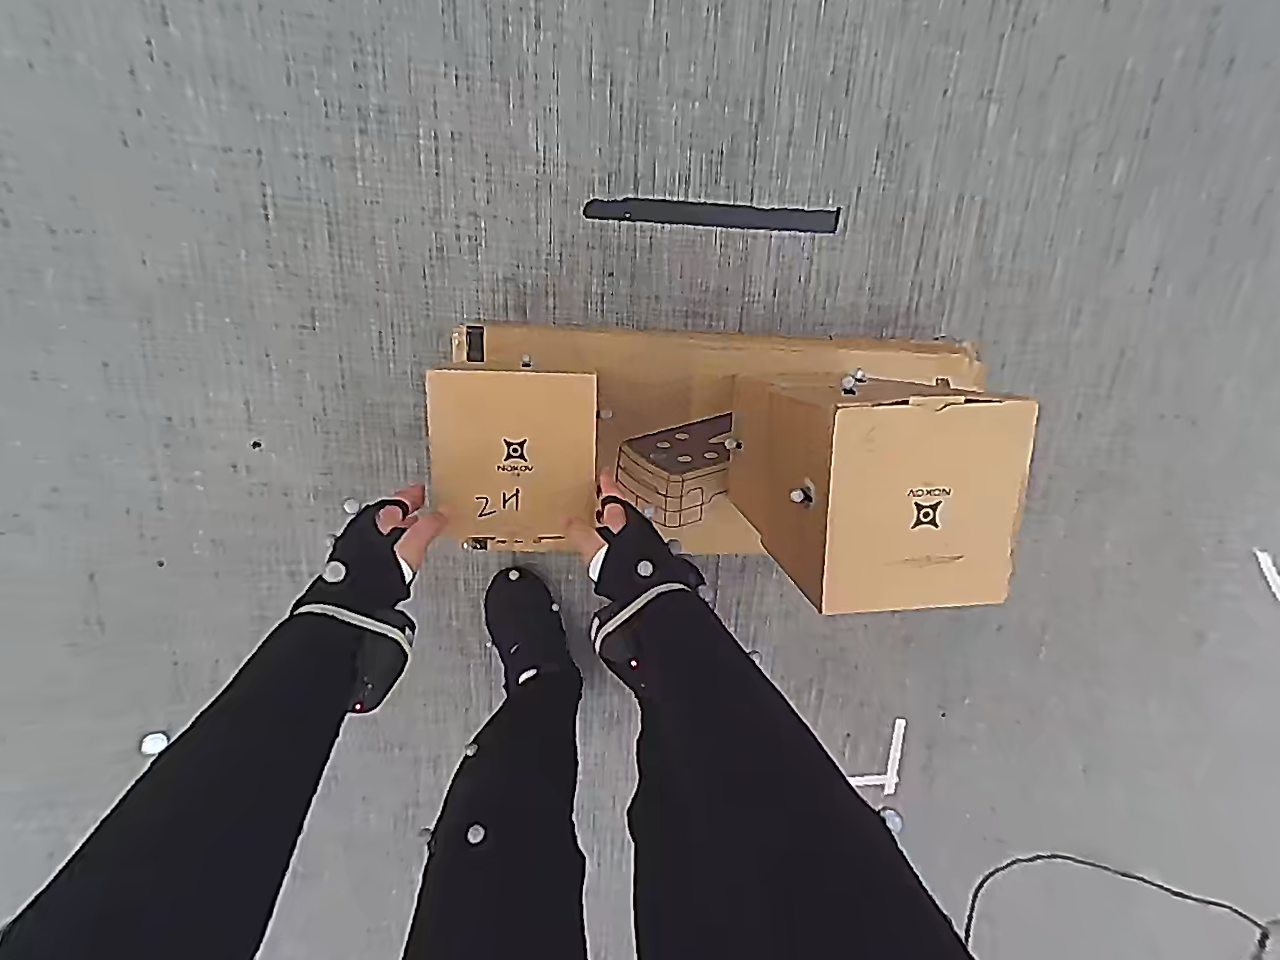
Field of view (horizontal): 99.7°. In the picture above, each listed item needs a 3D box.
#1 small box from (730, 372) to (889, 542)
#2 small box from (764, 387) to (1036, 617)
[{"bbox_3d":[0.214,-0.035,0.668,0.168,0.176,0.179,-1,106,-7],"label":"small box"},{"bbox_3d":[0.222,0.006,0.511,0.168,0.176,0.179,-3,106,-5],"label":"small box"}]
